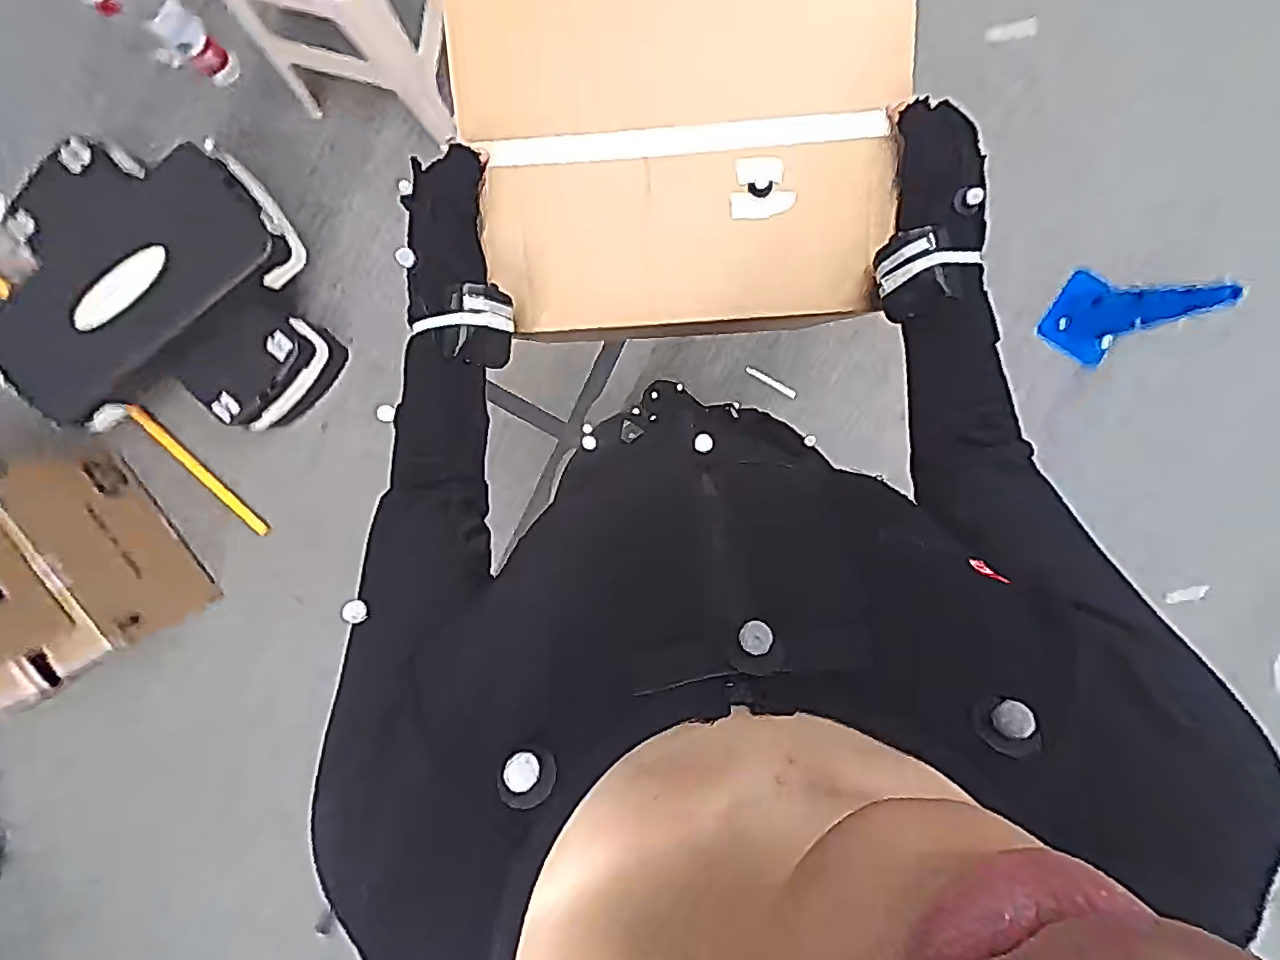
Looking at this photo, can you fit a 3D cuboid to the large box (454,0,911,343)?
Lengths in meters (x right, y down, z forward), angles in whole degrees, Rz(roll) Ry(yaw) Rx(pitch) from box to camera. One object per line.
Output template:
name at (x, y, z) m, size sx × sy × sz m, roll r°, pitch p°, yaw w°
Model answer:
large box at (0.041, -0.337, 0.637) m, size 0.408 × 0.320 × 0.320 m, roll -2°, pitch 102°, yaw 1°

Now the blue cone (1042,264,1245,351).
blue cone at (1.175, -0.428, 1.259) m, size 0.193 × 0.380 × 0.192 m, roll 31°, pitch 96°, yaw -5°
